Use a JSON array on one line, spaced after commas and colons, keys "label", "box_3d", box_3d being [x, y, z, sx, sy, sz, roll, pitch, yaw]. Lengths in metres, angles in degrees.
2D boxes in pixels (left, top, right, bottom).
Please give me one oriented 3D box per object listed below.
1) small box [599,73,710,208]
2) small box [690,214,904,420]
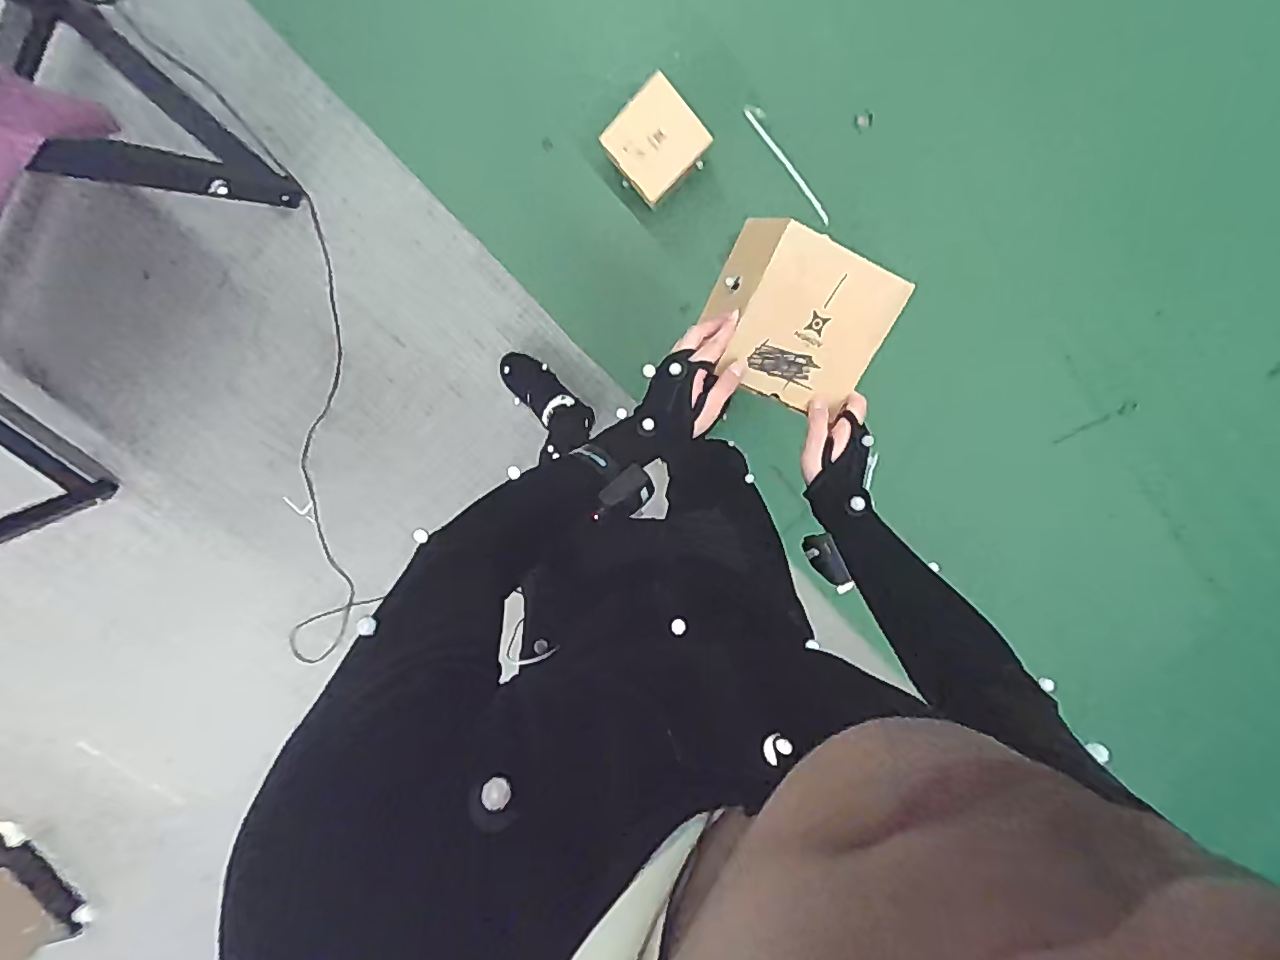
[{"label": "small box", "box_3d": [0.031, -0.731, 1.188, 0.179, 0.176, 0.168, -40, 104, 16]}, {"label": "small box", "box_3d": [0.172, -0.203, 0.664, 0.168, 0.176, 0.179, 19, 112, -15]}]
